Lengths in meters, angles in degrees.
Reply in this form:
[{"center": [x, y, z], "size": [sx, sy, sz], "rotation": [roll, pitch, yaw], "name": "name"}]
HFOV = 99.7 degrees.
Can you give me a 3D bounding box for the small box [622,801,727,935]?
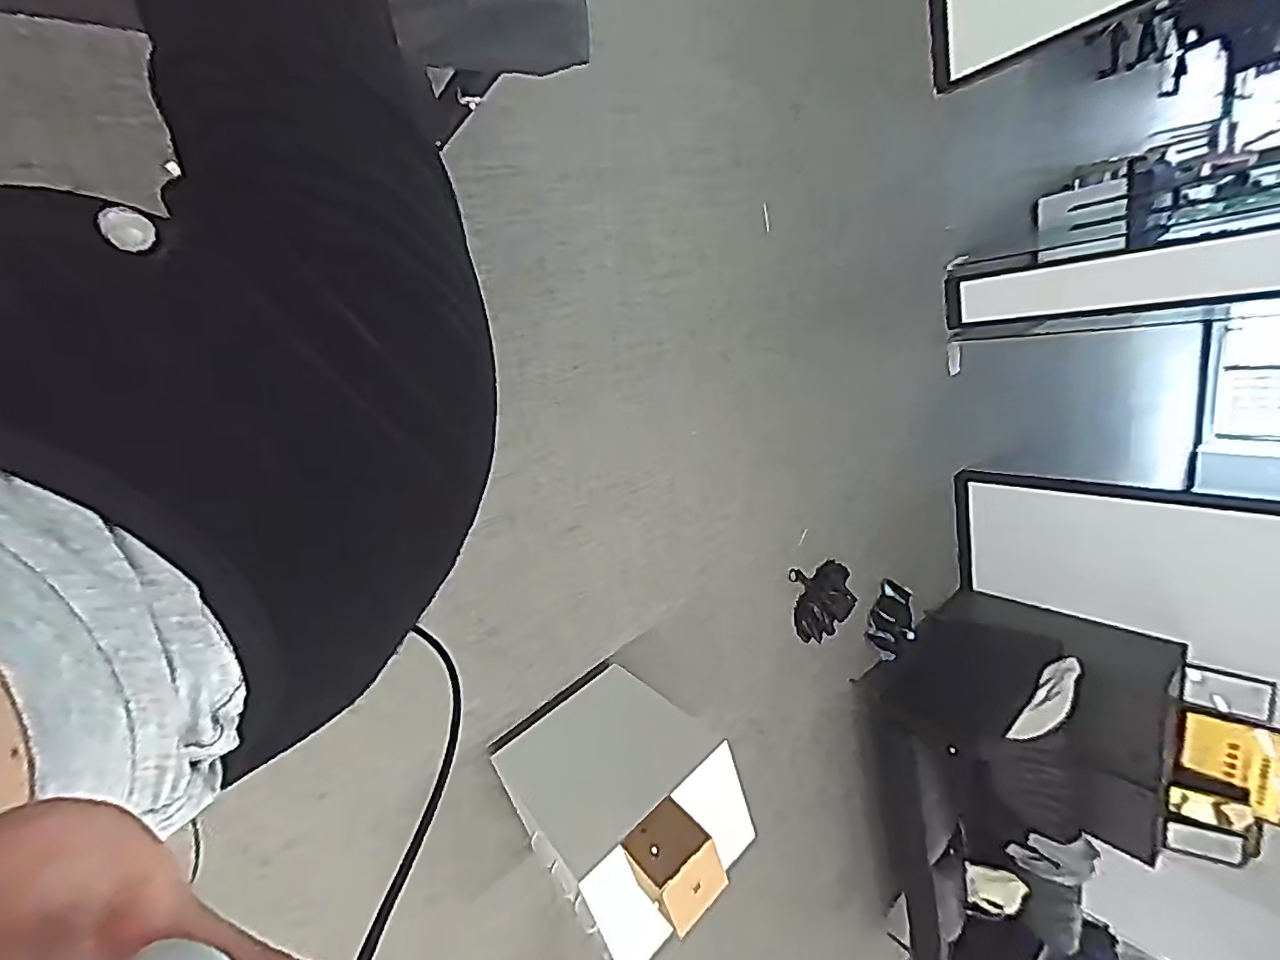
[{"center": [0.079, 0.923, 1.310], "size": [0.168, 0.176, 0.179], "rotation": [-30, 116, -29], "name": "small box"}]
